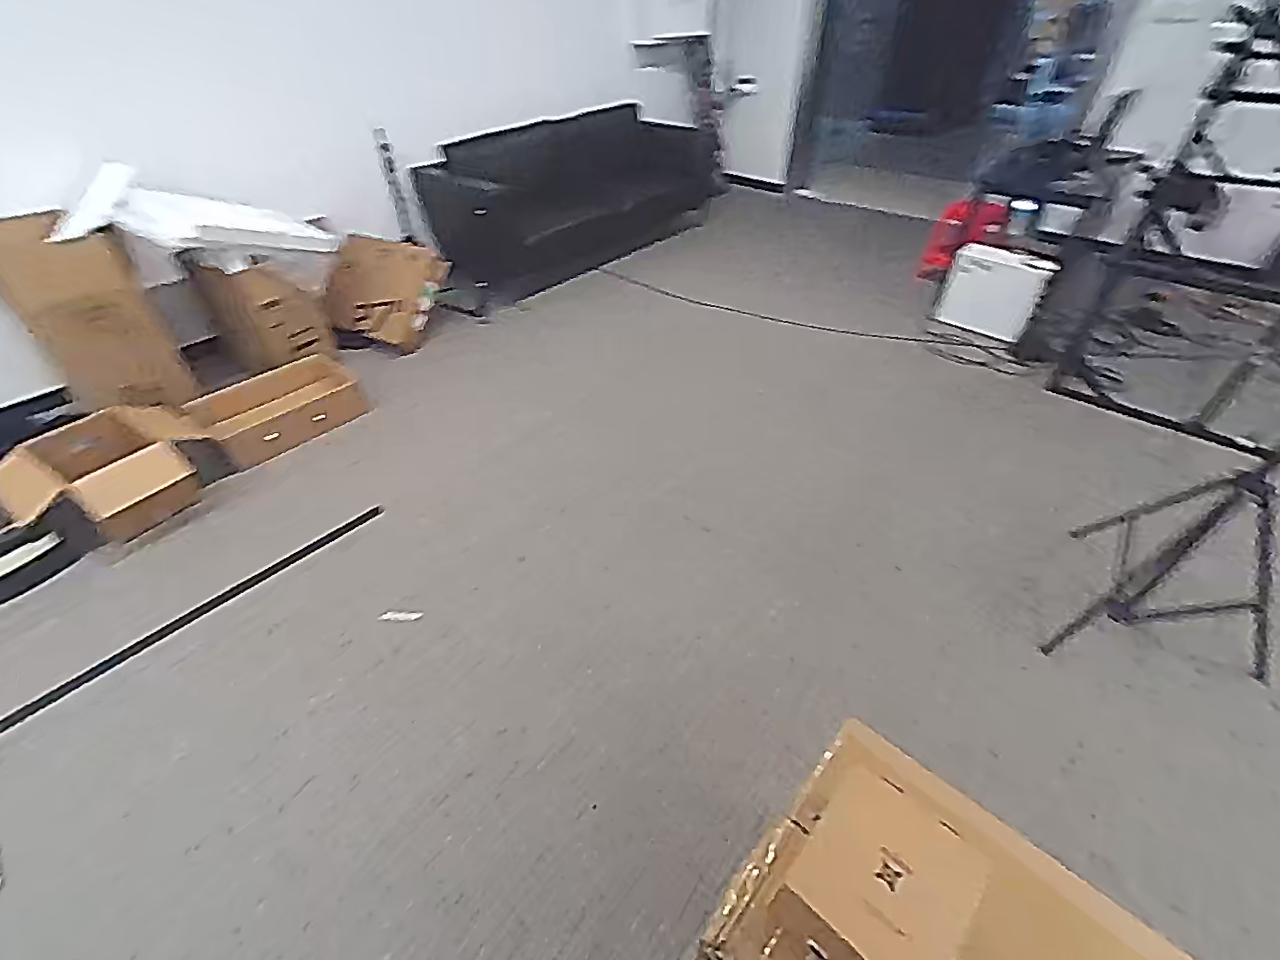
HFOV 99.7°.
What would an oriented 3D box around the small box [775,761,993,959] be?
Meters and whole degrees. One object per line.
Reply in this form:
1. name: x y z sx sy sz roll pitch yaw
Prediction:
1. small box: 0.280 0.491 0.653 0.168 0.176 0.179 31 54 32
